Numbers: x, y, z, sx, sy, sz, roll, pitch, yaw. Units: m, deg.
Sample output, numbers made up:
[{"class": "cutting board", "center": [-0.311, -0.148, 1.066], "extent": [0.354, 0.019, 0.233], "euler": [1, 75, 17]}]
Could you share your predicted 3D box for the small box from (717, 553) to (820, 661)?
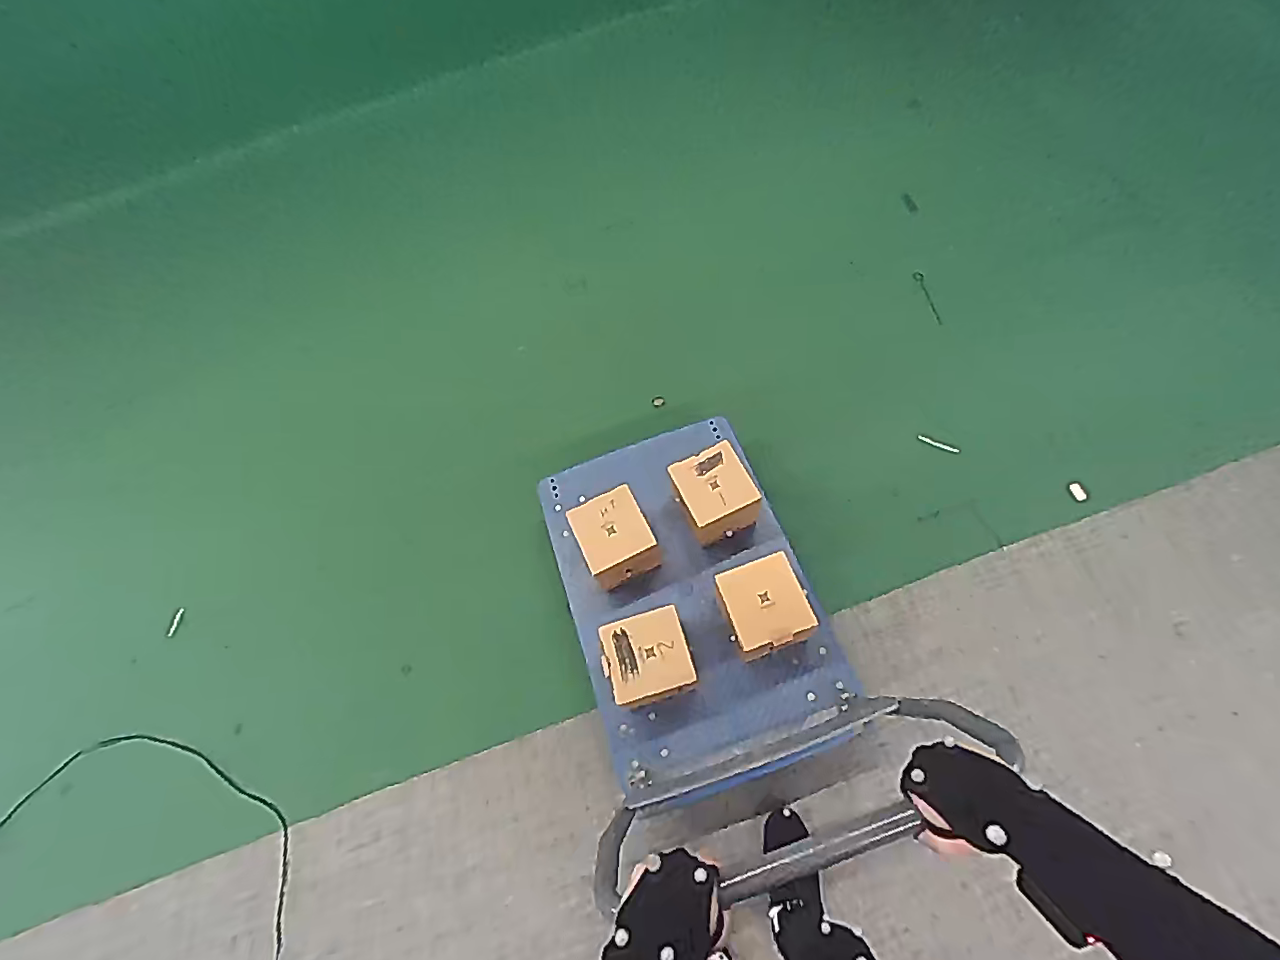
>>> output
[{"class": "small box", "center": [0.278, 0.292, 1.224], "extent": [0.168, 0.176, 0.179], "euler": [-20, 65, -2]}]

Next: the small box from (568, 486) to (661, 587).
[{"class": "small box", "center": [-0.057, 0.149, 1.330], "extent": [0.168, 0.176, 0.179], "euler": [-25, 65, -6]}]

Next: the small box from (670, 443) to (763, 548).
[{"class": "small box", "center": [0.186, 0.043, 1.349], "extent": [0.168, 0.176, 0.179], "euler": [-25, 66, -4]}]
